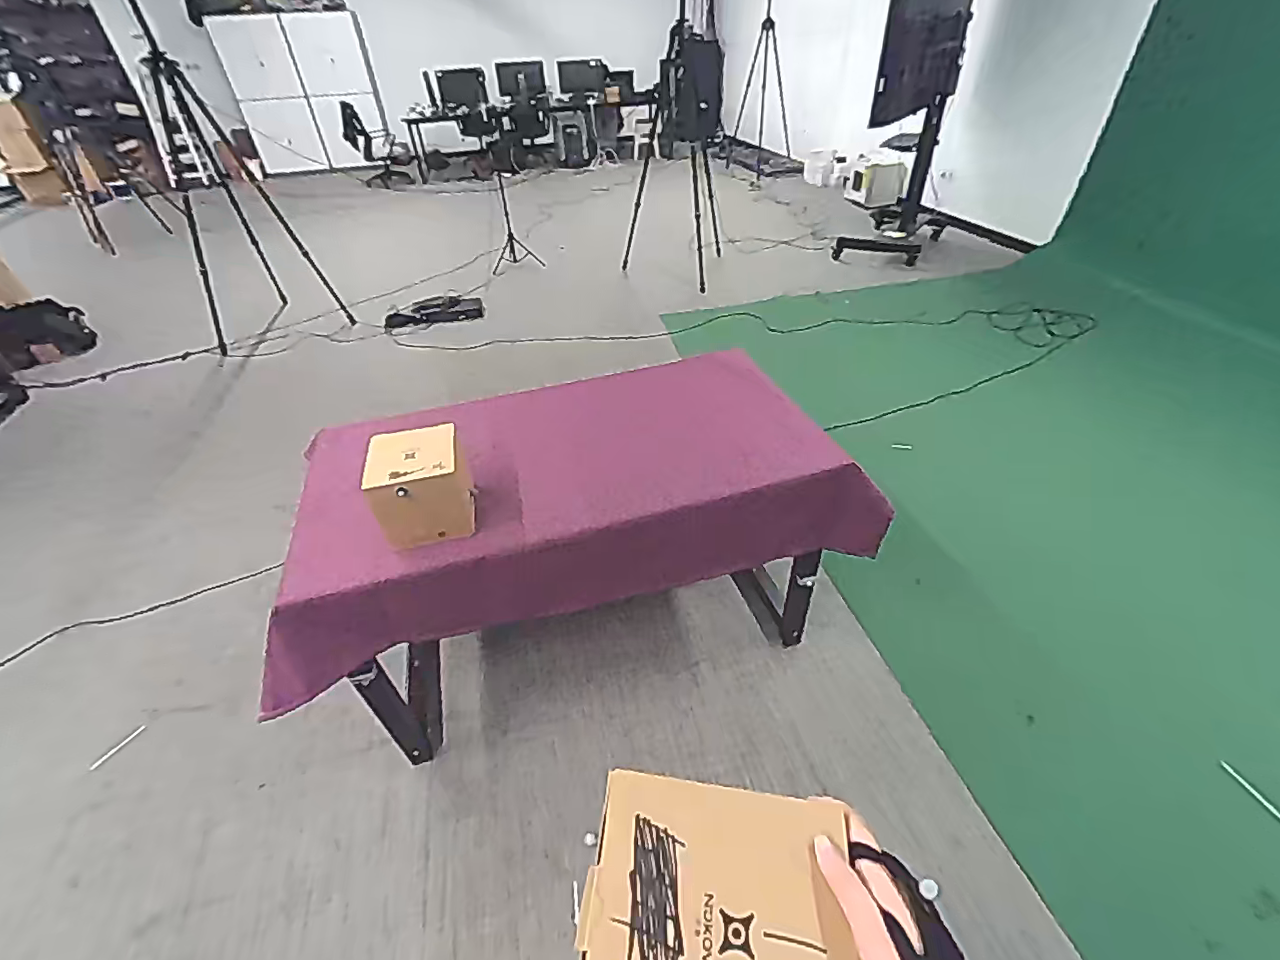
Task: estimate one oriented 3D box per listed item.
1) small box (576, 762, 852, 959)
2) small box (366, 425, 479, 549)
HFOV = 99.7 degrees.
[{"bbox_3d":[0.046,0.337,0.415,0.179,0.176,0.168,9,51,1],"label":"small box"},{"bbox_3d":[-0.432,0.013,1.101,0.168,0.176,0.179,-12,40,-9],"label":"small box"}]
